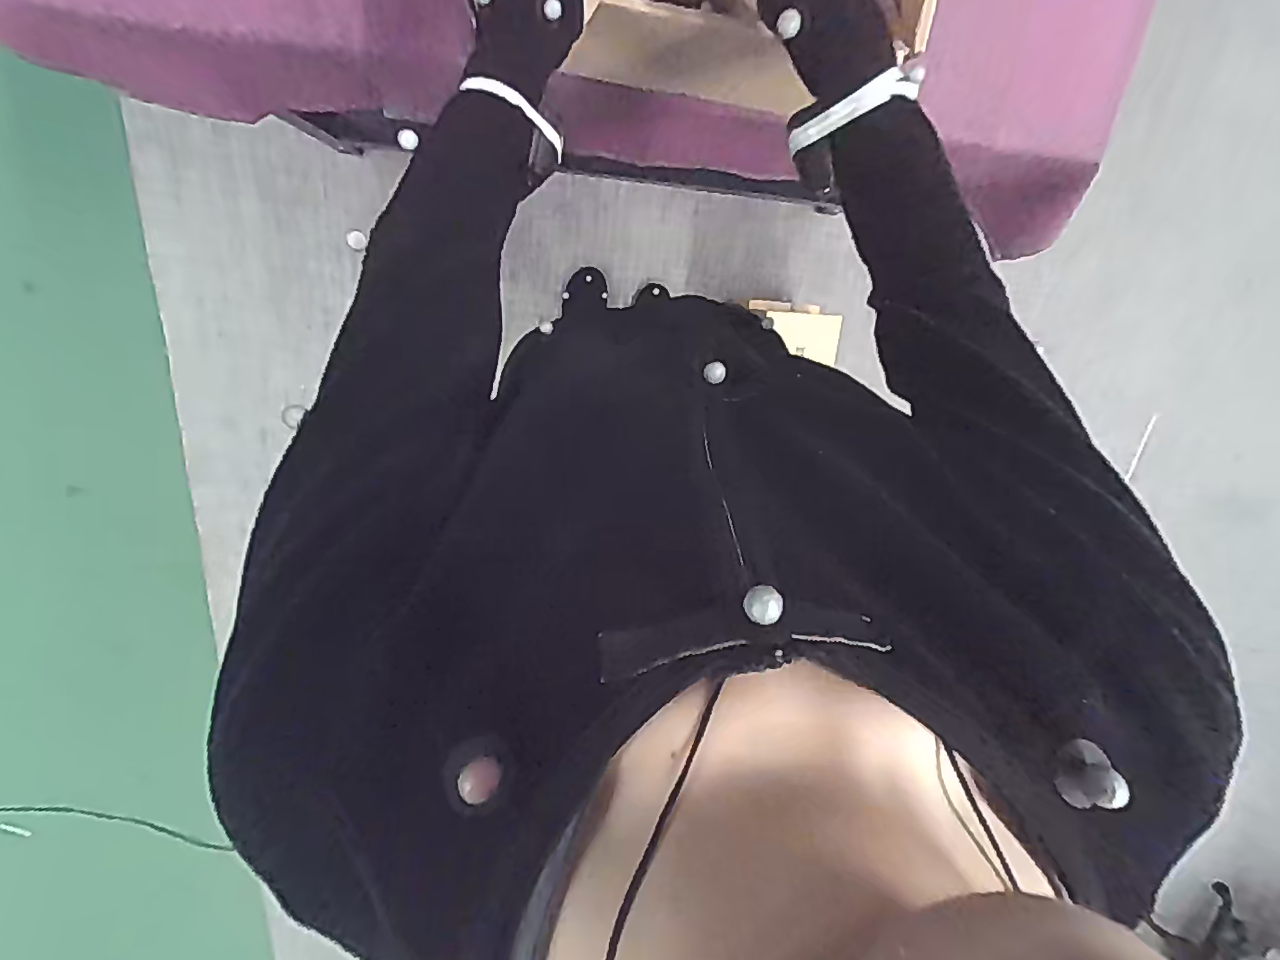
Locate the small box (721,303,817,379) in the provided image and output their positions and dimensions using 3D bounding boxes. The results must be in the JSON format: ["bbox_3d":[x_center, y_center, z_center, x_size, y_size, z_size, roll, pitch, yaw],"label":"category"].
[{"bbox_3d":[0.319,-0.356,1.370,0.179,0.176,0.168,3,109,-6],"label":"small box"}]
